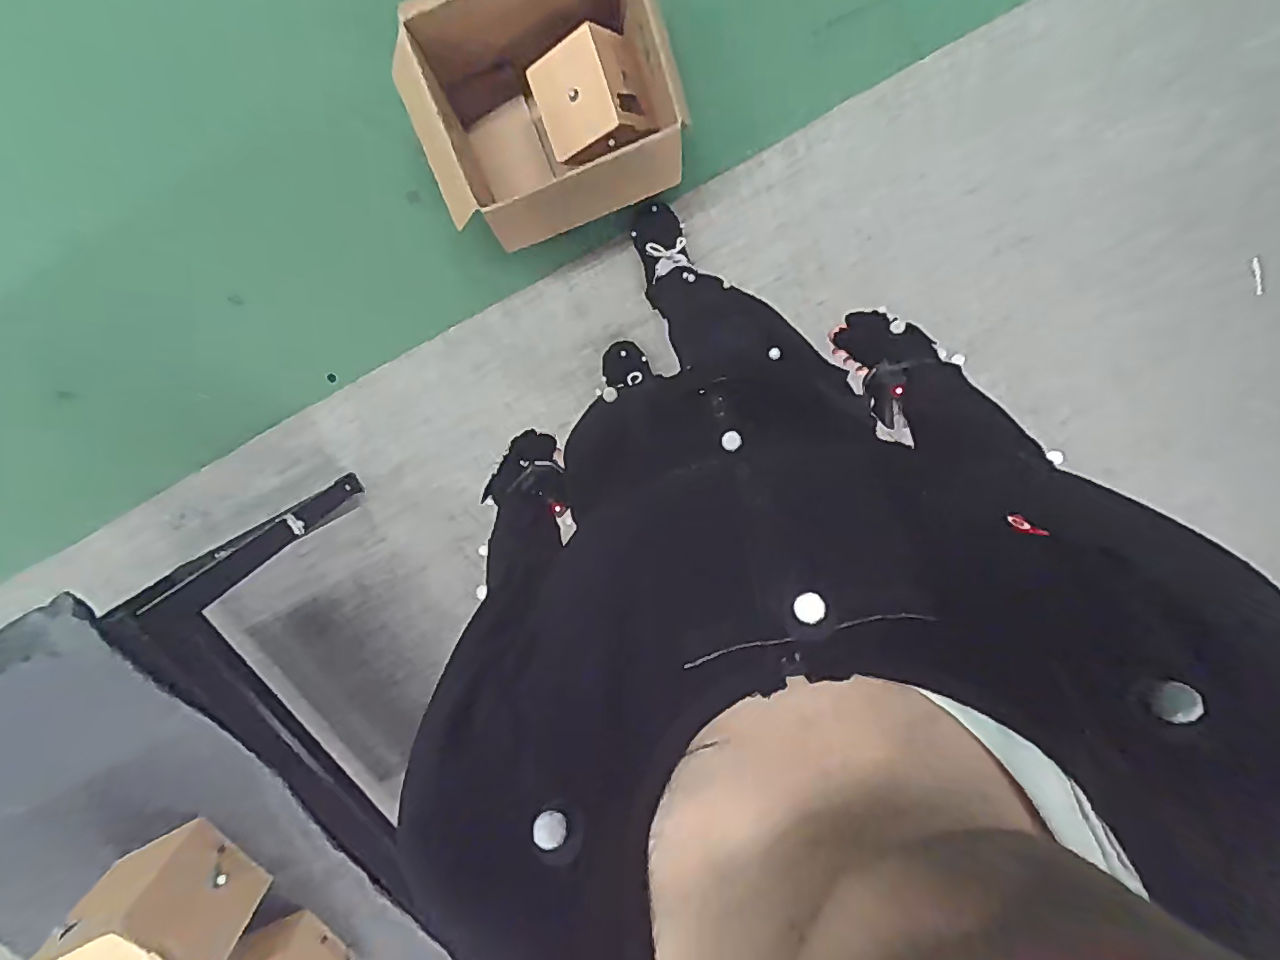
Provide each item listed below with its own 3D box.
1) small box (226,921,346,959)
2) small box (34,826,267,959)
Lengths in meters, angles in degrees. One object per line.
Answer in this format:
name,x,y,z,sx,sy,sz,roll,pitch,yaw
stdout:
small box,-0.595,0.863,0.866,0.179,0.176,0.168,-27,107,5
small box,-0.710,0.662,0.795,0.179,0.176,0.168,-28,108,5
